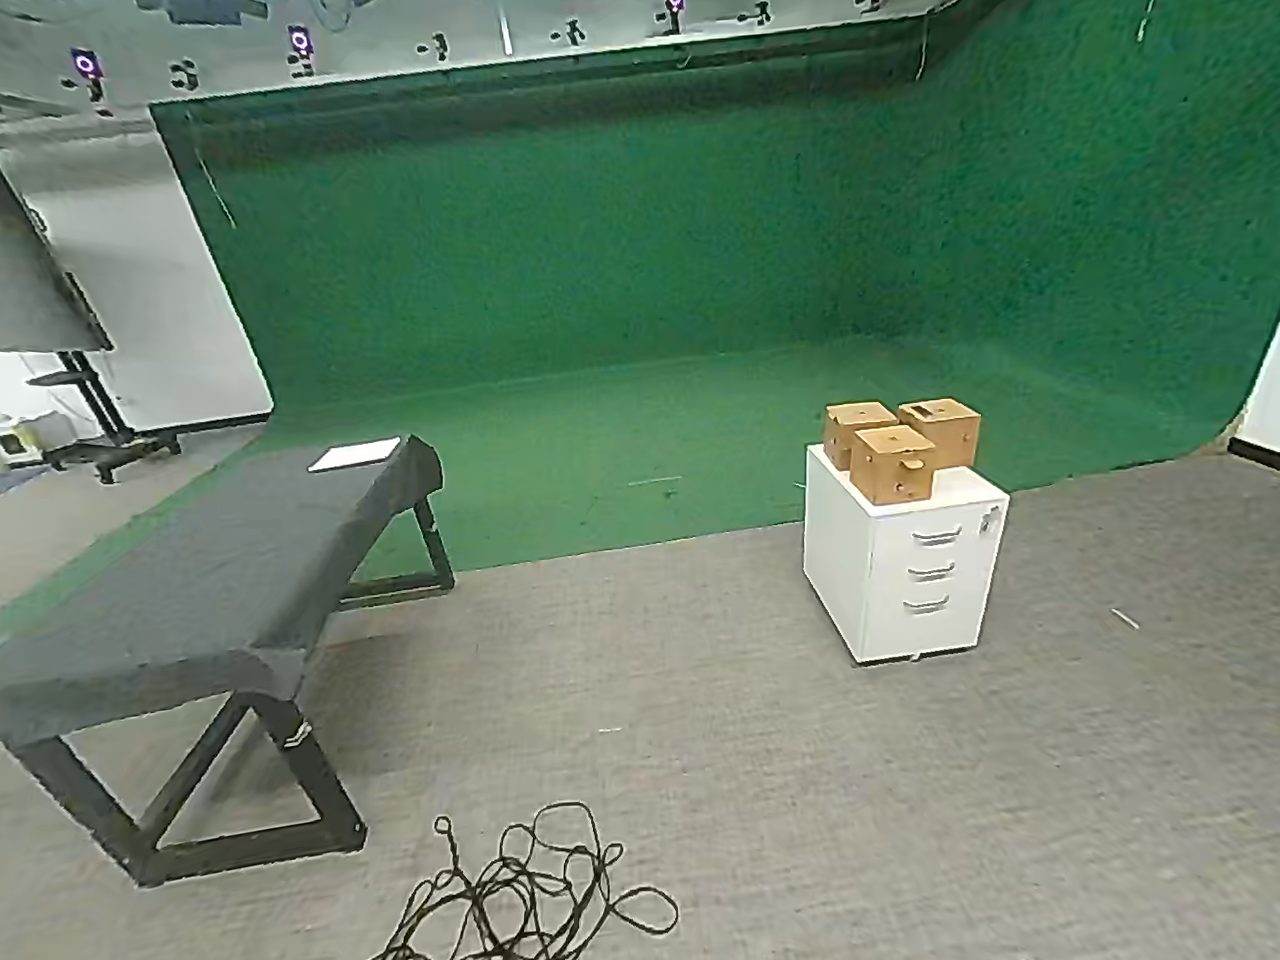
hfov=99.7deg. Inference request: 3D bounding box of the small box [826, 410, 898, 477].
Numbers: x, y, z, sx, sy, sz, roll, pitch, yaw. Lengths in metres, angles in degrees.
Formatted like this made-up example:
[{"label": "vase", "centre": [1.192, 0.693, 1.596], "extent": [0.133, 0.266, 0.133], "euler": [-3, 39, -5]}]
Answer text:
[{"label": "small box", "centre": [0.722, -0.119, 1.777], "extent": [0.179, 0.176, 0.168], "euler": [-5, 27, 2]}]
